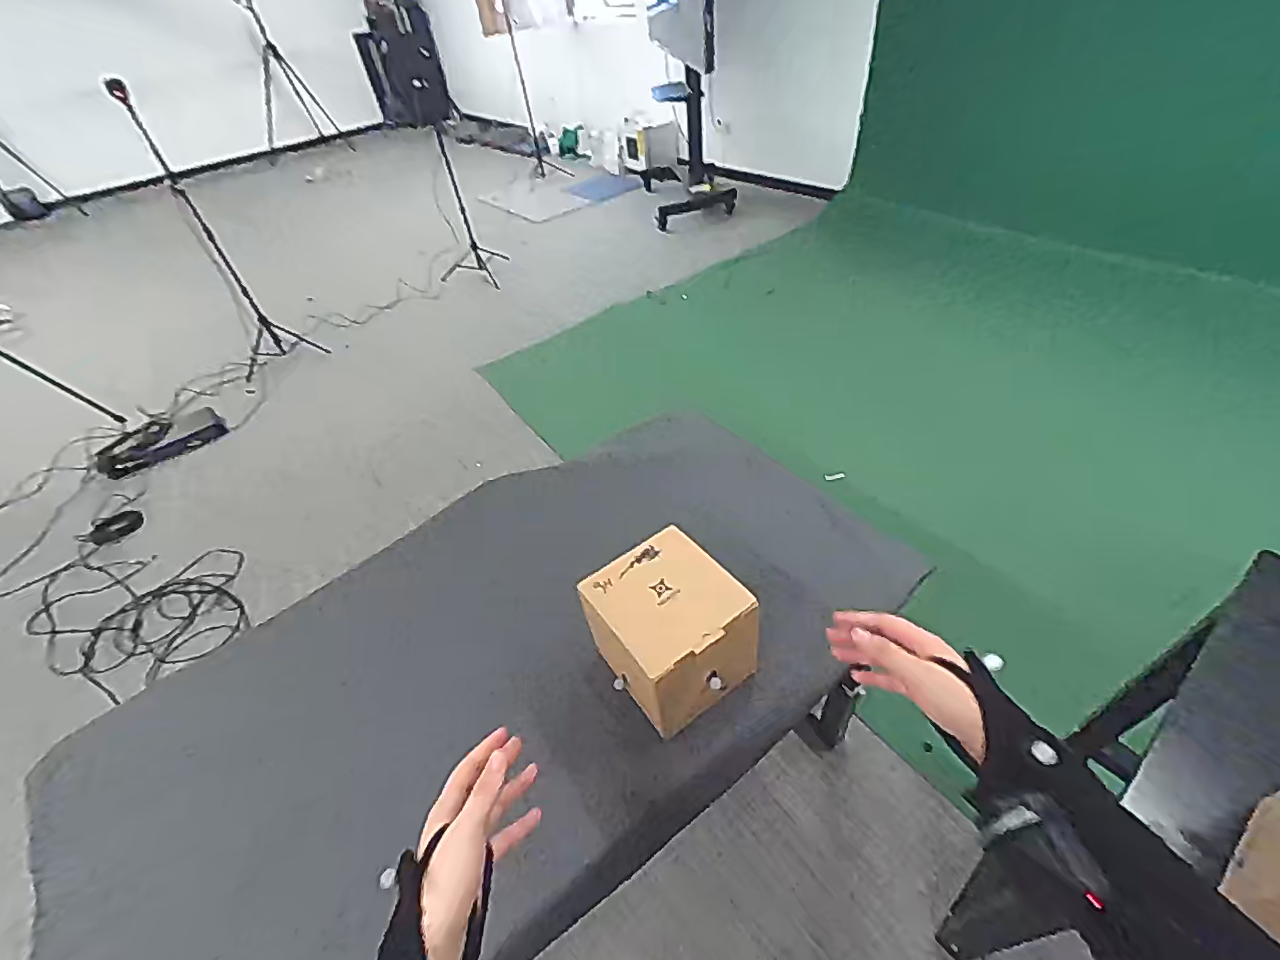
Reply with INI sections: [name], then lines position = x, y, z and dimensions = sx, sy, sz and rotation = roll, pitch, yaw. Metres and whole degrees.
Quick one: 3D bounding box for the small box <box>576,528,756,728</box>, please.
[small box]
position = 0.040, 0.206, 0.734
dimensions = 0.168, 0.176, 0.179
rotation = -31, 47, -20
